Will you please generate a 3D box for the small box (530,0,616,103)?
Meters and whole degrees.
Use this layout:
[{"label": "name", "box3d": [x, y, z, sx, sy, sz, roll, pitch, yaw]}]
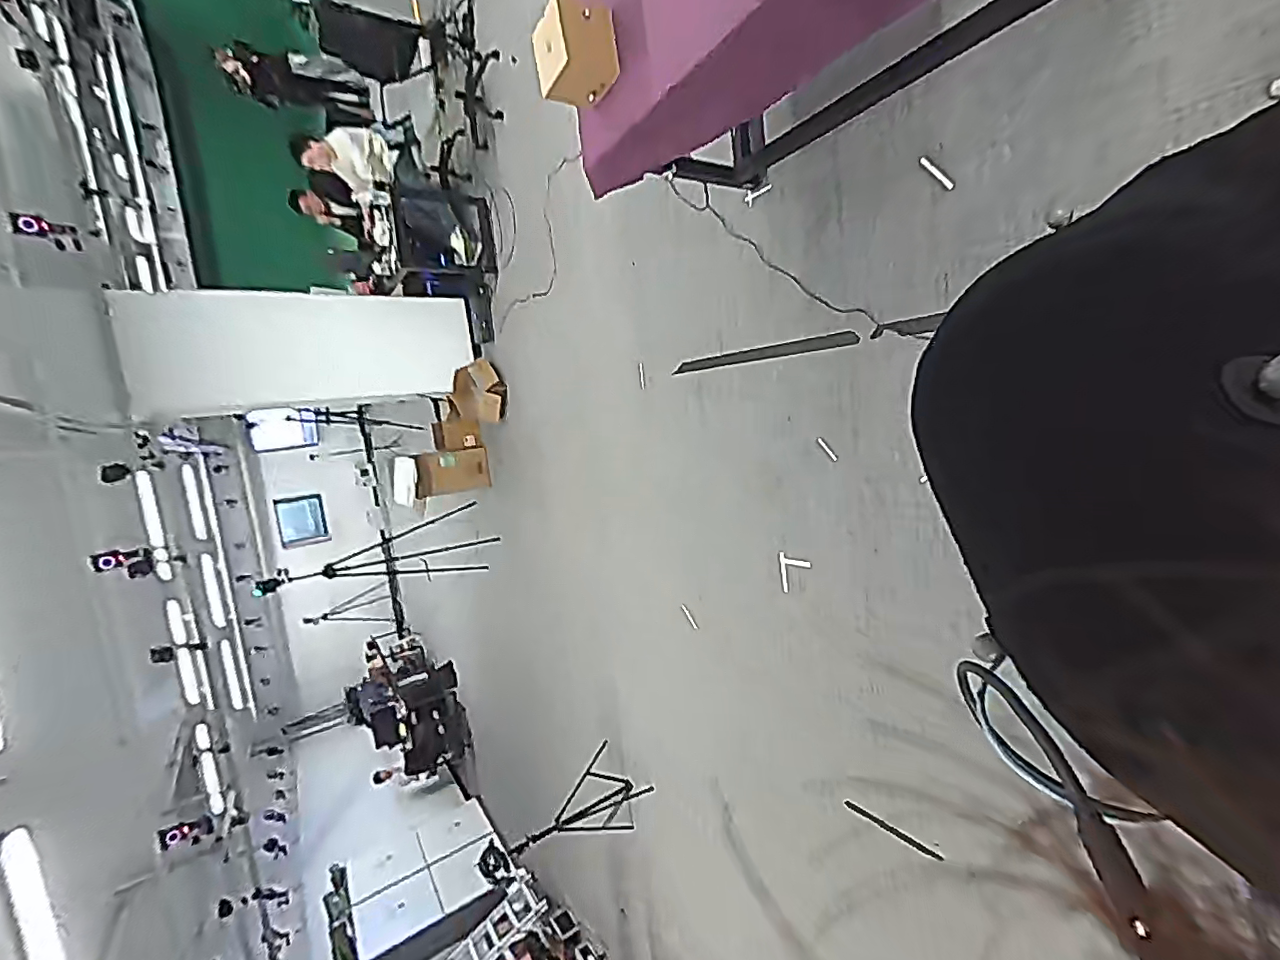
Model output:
[{"label": "small box", "box3d": [-0.184, -1.191, 1.495, 0.168, 0.176, 0.179, -2, 98, 57]}]
